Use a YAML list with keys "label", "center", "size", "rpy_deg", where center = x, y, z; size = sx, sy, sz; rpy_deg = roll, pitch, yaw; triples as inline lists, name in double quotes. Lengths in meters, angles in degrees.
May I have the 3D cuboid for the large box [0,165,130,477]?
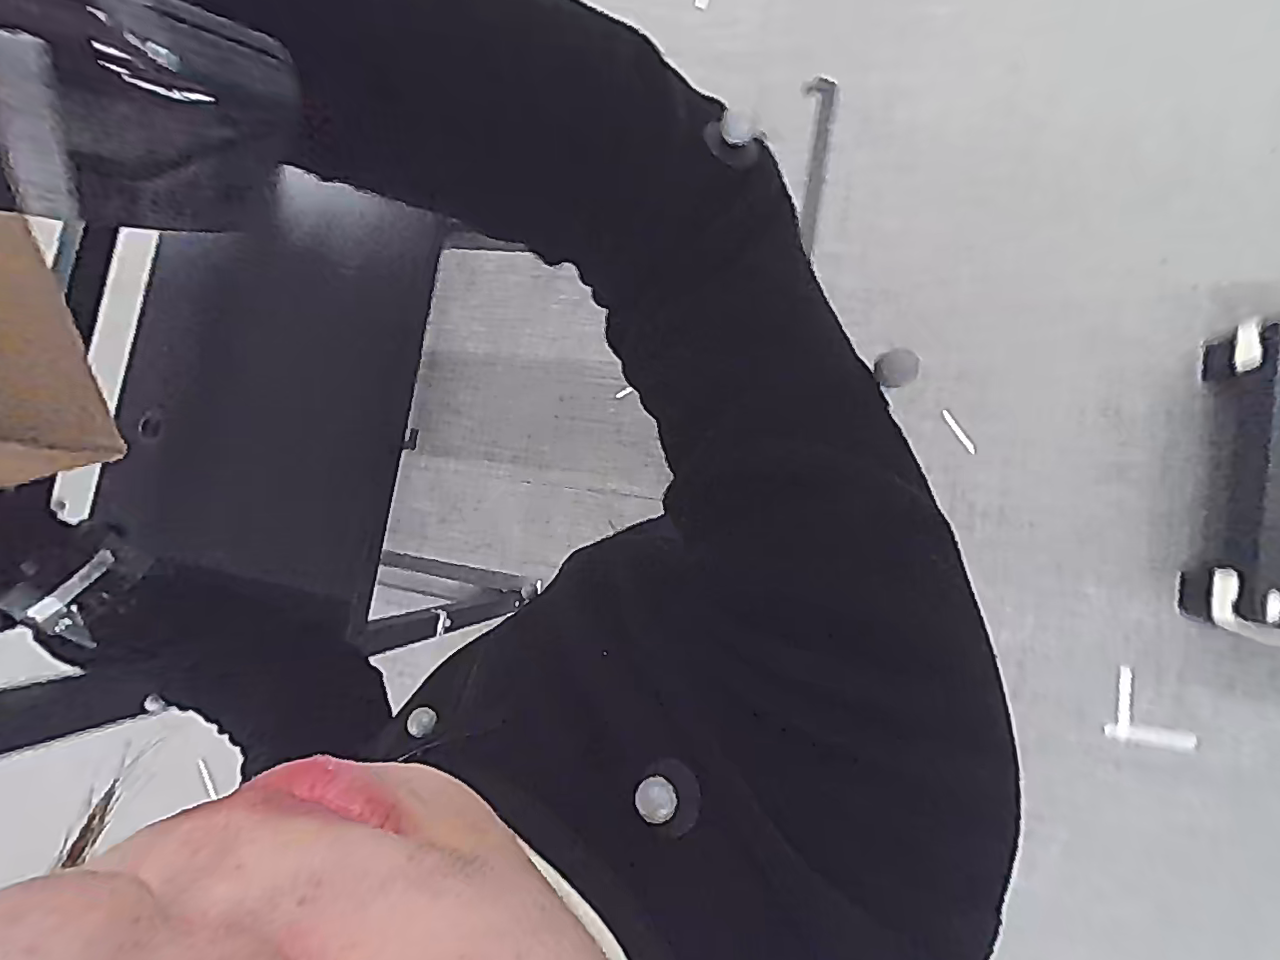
- label: "large box"
  center: [-0.437, -0.094, 0.072]
  size: [0.408, 0.320, 0.320]
  rpy_deg: [-21, 97, -21]
